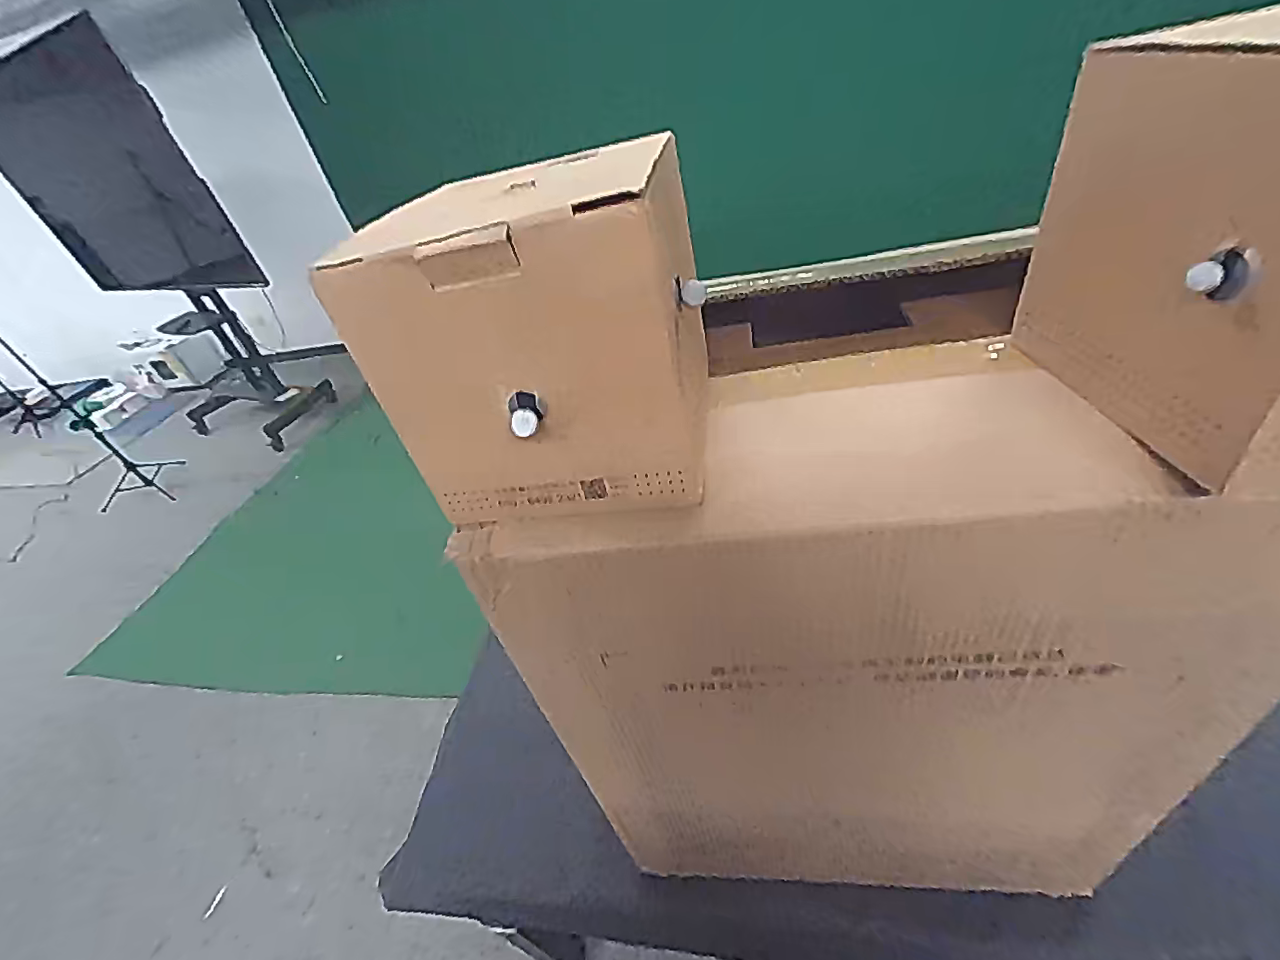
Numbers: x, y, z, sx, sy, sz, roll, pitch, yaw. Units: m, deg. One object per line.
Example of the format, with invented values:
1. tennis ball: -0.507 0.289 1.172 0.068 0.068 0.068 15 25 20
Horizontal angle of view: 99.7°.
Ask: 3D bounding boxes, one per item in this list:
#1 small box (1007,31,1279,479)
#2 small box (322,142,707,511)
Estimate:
1. small box: 0.327 -0.113 0.267 0.168 0.176 0.179 -8 38 4
2. small box: -0.048 -0.092 0.352 0.168 0.176 0.179 -5 40 12
